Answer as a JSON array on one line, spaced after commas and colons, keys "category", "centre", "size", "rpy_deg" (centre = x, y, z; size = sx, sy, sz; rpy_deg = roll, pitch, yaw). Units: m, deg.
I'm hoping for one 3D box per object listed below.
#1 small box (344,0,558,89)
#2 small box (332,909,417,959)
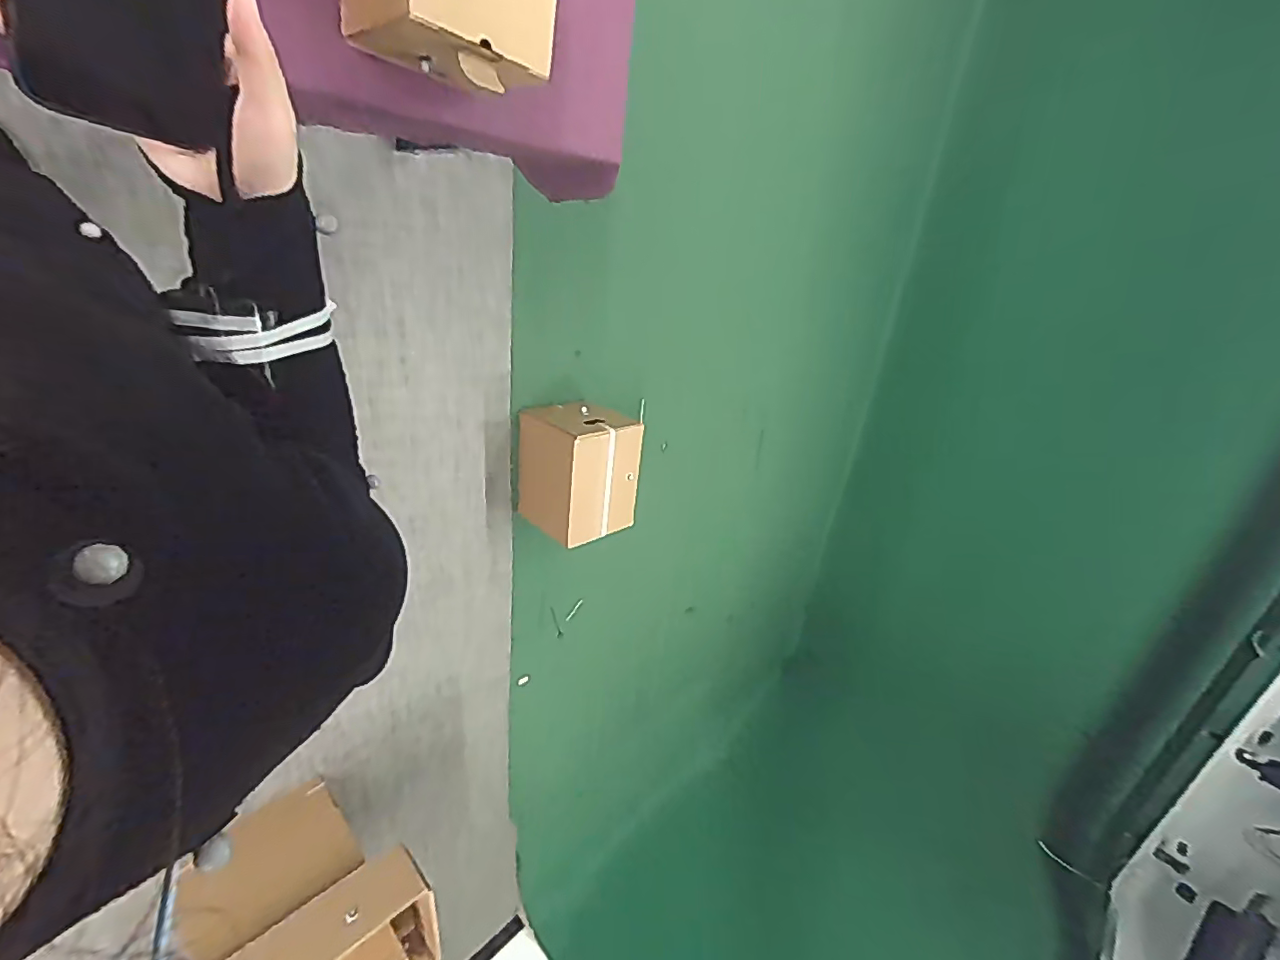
[{"category": "small box", "centre": [-0.201, -0.550, 0.576], "size": [0.168, 0.176, 0.179], "rpy_deg": [-12, 121, -45]}, {"category": "small box", "centre": [-0.731, 1.358, 1.511], "size": [0.168, 0.176, 0.179], "rpy_deg": [-27, 131, -37]}]
